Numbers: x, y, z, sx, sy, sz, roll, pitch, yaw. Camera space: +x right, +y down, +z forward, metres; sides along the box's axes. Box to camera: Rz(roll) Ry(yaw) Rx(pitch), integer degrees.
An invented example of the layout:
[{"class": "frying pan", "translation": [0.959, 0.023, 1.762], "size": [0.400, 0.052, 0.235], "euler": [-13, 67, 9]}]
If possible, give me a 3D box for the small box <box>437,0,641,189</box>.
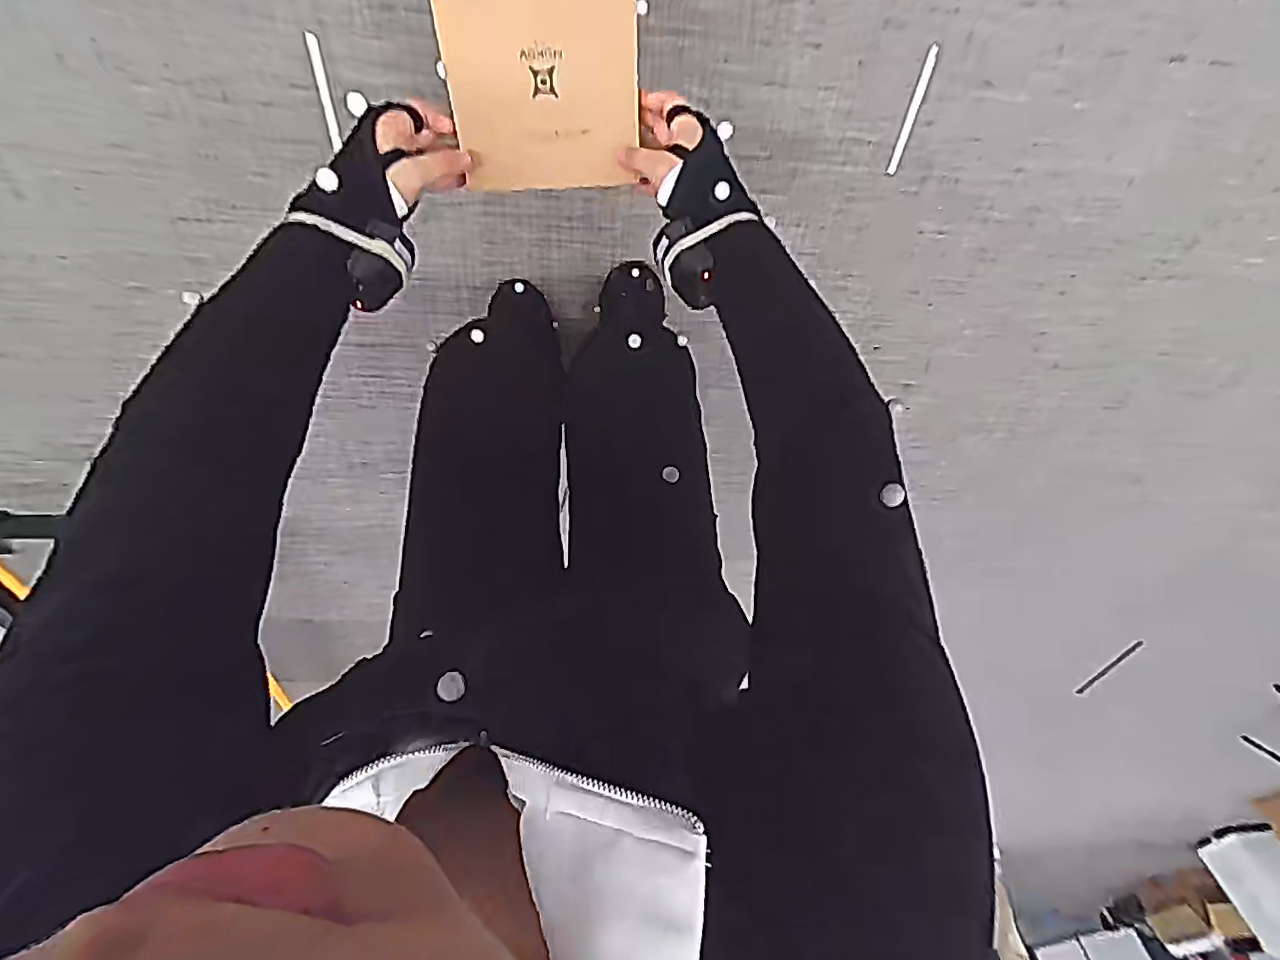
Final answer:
[{"class": "small box", "translation": [-0.088, -0.401, 0.527], "size": [0.168, 0.176, 0.179], "euler": [-4, 131, -2]}]
